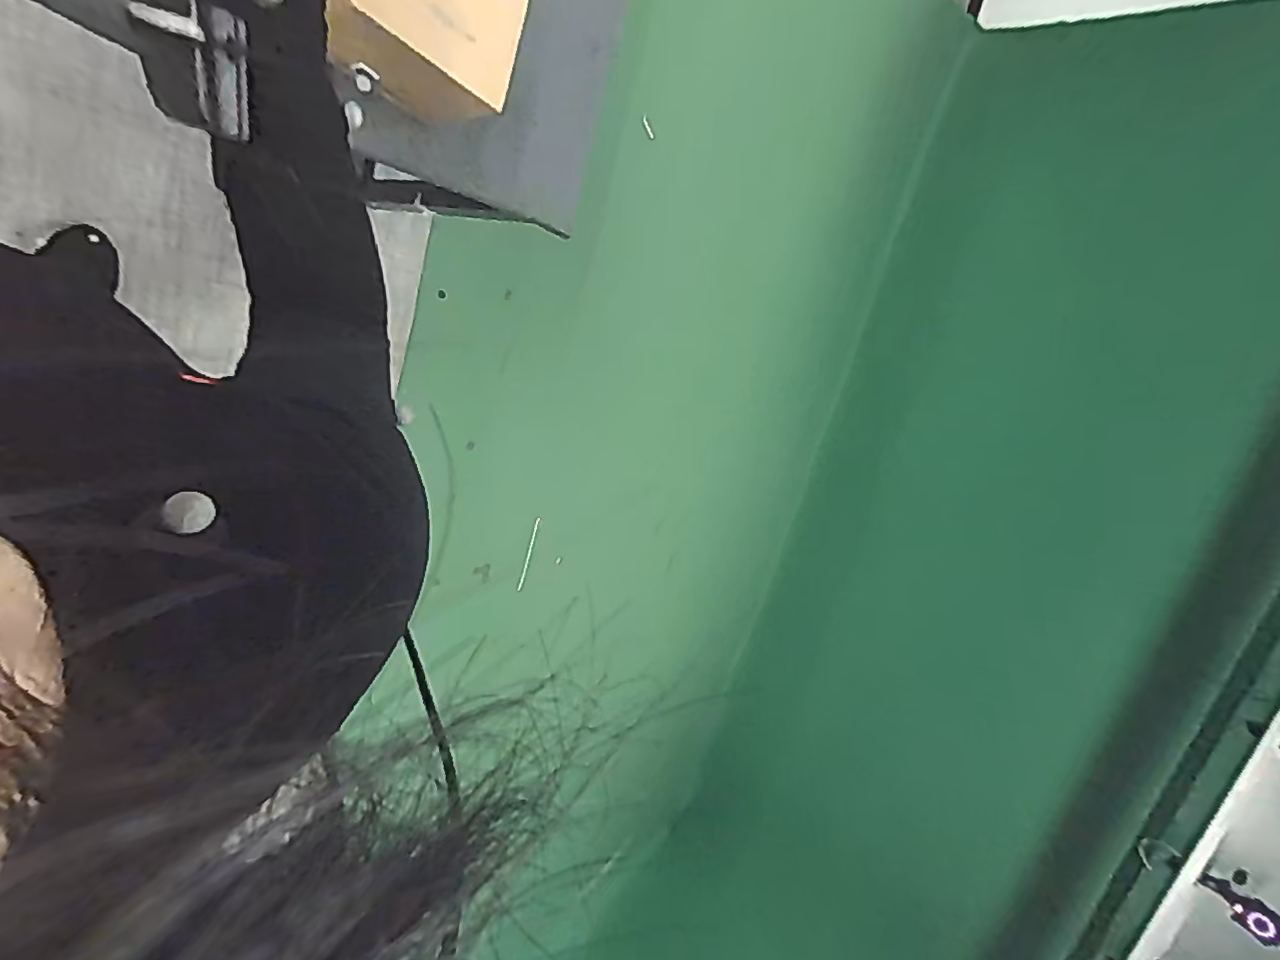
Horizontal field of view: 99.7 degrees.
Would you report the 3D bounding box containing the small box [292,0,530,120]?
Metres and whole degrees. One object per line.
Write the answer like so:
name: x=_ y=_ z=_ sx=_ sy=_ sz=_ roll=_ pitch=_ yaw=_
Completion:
small box: x=-0.237 y=-0.517 z=0.568 sx=0.168 sy=0.176 sz=0.179 roll=5 pitch=105 yaw=-51
